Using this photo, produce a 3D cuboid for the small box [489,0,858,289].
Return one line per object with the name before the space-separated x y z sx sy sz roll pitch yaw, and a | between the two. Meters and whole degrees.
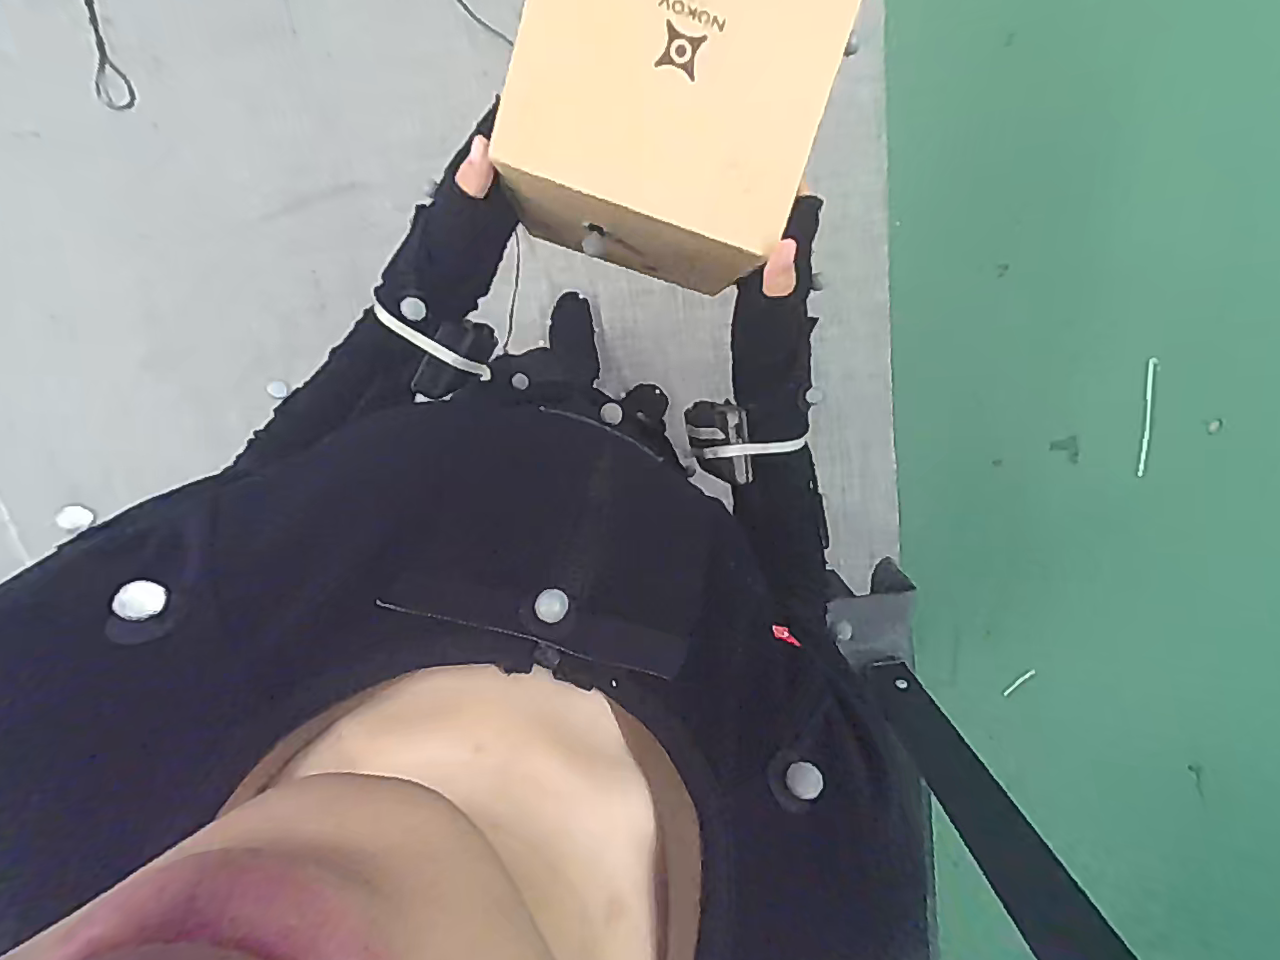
small box | 0.017 -0.242 0.354 0.168 0.176 0.179 16 98 -7
